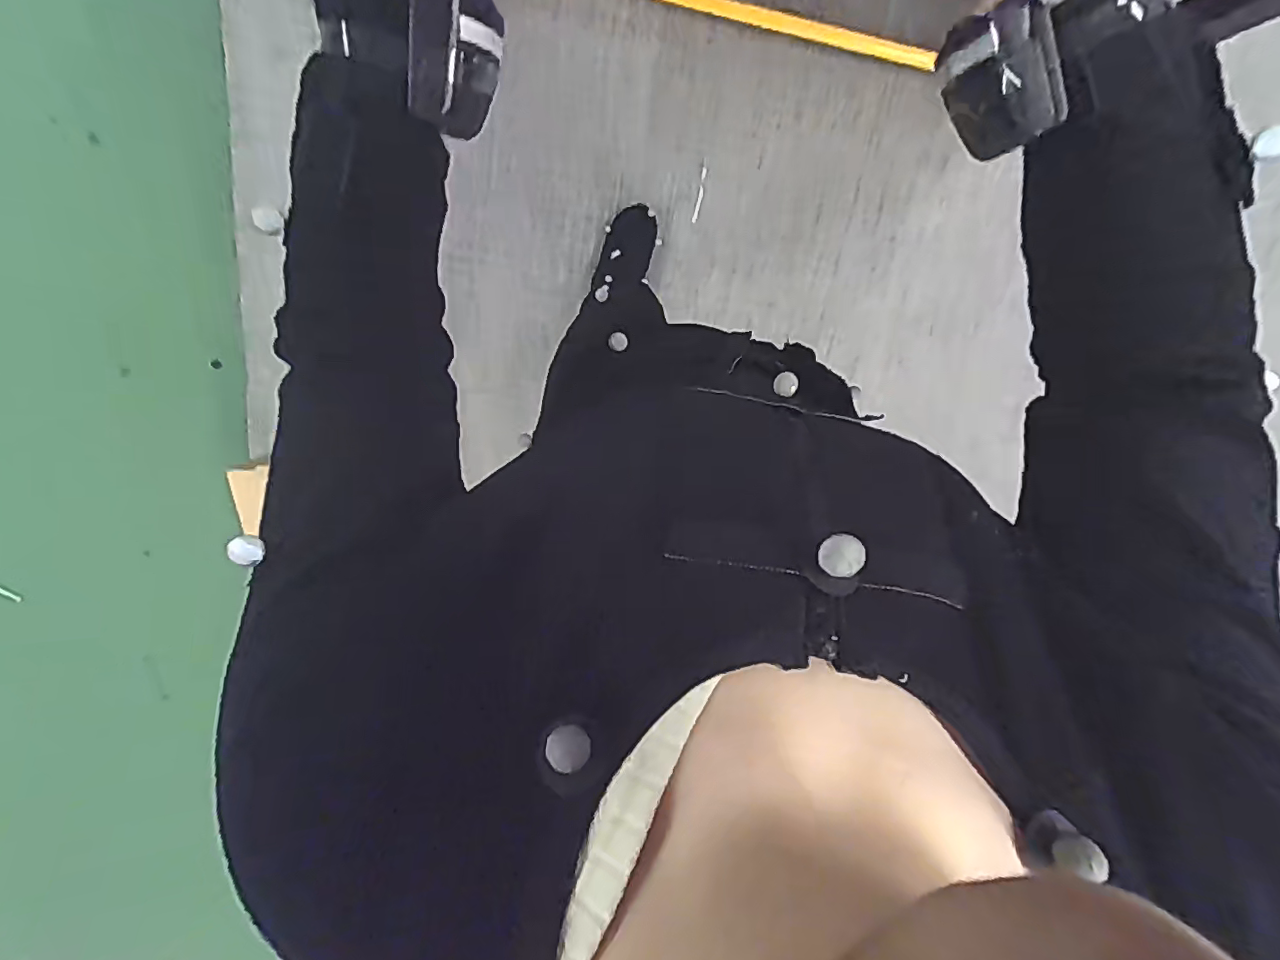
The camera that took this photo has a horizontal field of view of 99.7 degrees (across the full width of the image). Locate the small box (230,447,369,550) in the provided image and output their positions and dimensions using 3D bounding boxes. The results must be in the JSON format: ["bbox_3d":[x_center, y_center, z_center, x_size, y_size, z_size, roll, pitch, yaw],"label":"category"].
[{"bbox_3d":[-0.705,0.032,1.142,0.168,0.176,0.179,-2,110,2],"label":"small box"}]
